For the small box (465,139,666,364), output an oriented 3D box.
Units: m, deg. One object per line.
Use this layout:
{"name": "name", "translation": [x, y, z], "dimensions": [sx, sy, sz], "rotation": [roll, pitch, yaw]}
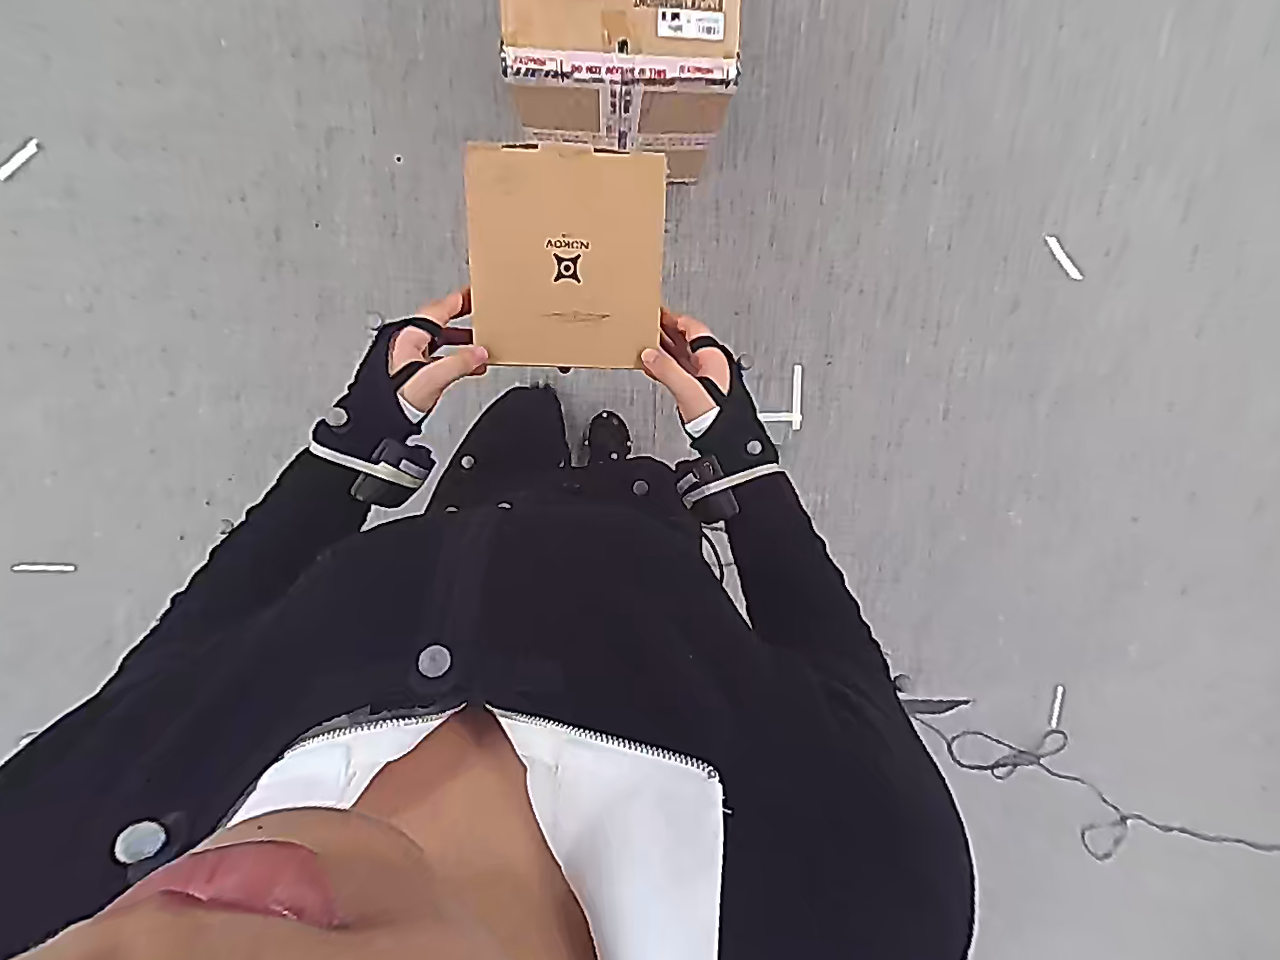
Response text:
{"name": "small box", "translation": [-0.066, -0.212, 0.537], "dimensions": [0.168, 0.176, 0.179], "rotation": [0, 108, -2]}
